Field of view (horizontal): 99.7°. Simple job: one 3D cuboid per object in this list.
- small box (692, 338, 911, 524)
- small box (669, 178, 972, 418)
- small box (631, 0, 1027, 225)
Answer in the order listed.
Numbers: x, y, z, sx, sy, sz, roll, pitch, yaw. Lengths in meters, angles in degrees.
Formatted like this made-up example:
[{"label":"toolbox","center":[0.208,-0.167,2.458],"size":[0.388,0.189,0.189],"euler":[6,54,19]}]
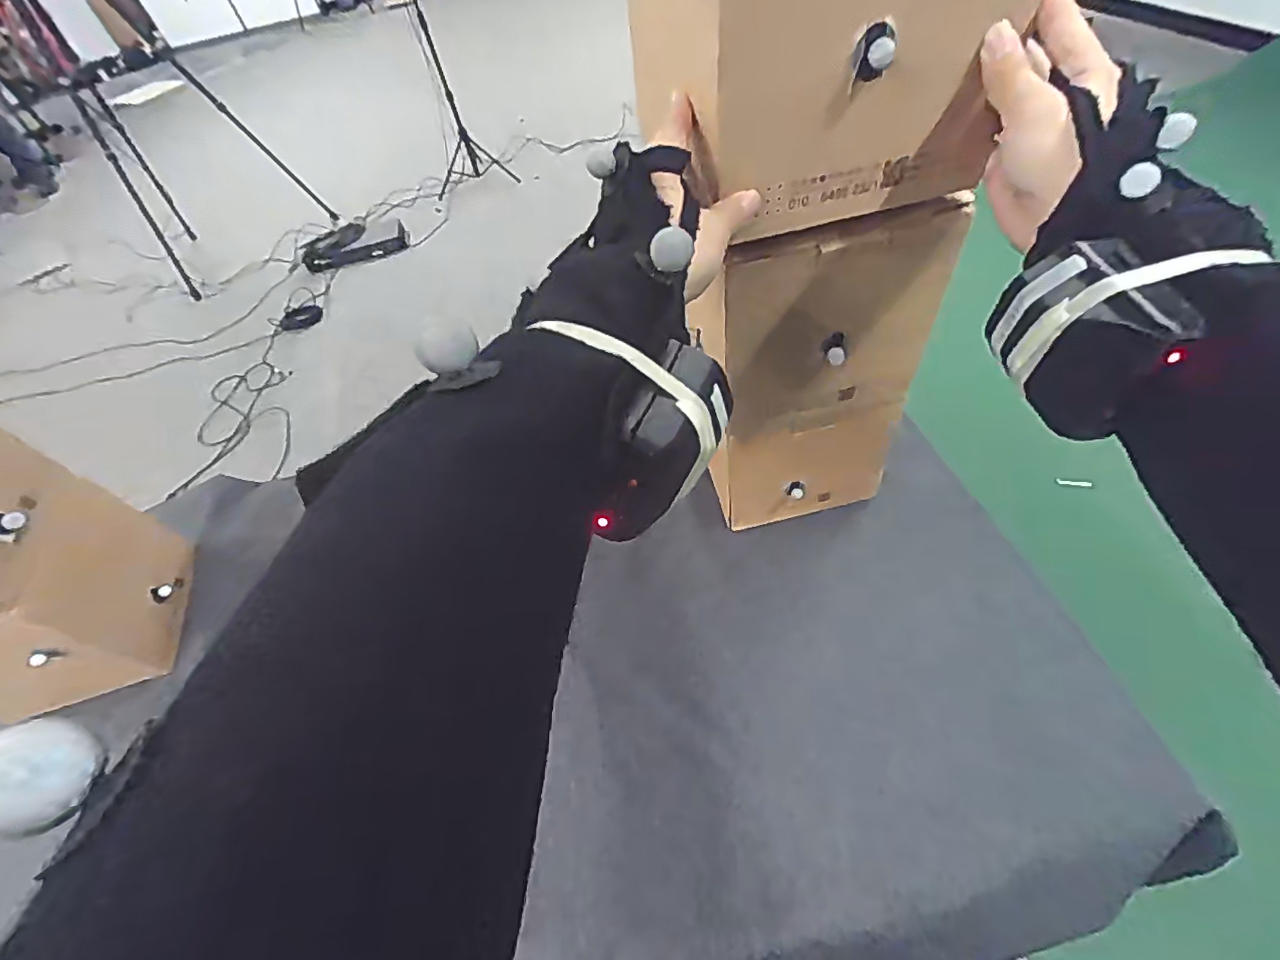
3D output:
[{"label":"small box","center":[0.154,-0.079,0.586],"size":[0.168,0.176,0.179],"euler":[-14,53,0]},{"label":"small box","center":[0.128,-0.170,0.452],"size":[0.168,0.176,0.179],"euler":[-13,54,0]},{"label":"small box","center":[0.094,-0.265,0.308],"size":[0.168,0.176,0.179],"euler":[-15,49,-5]}]
